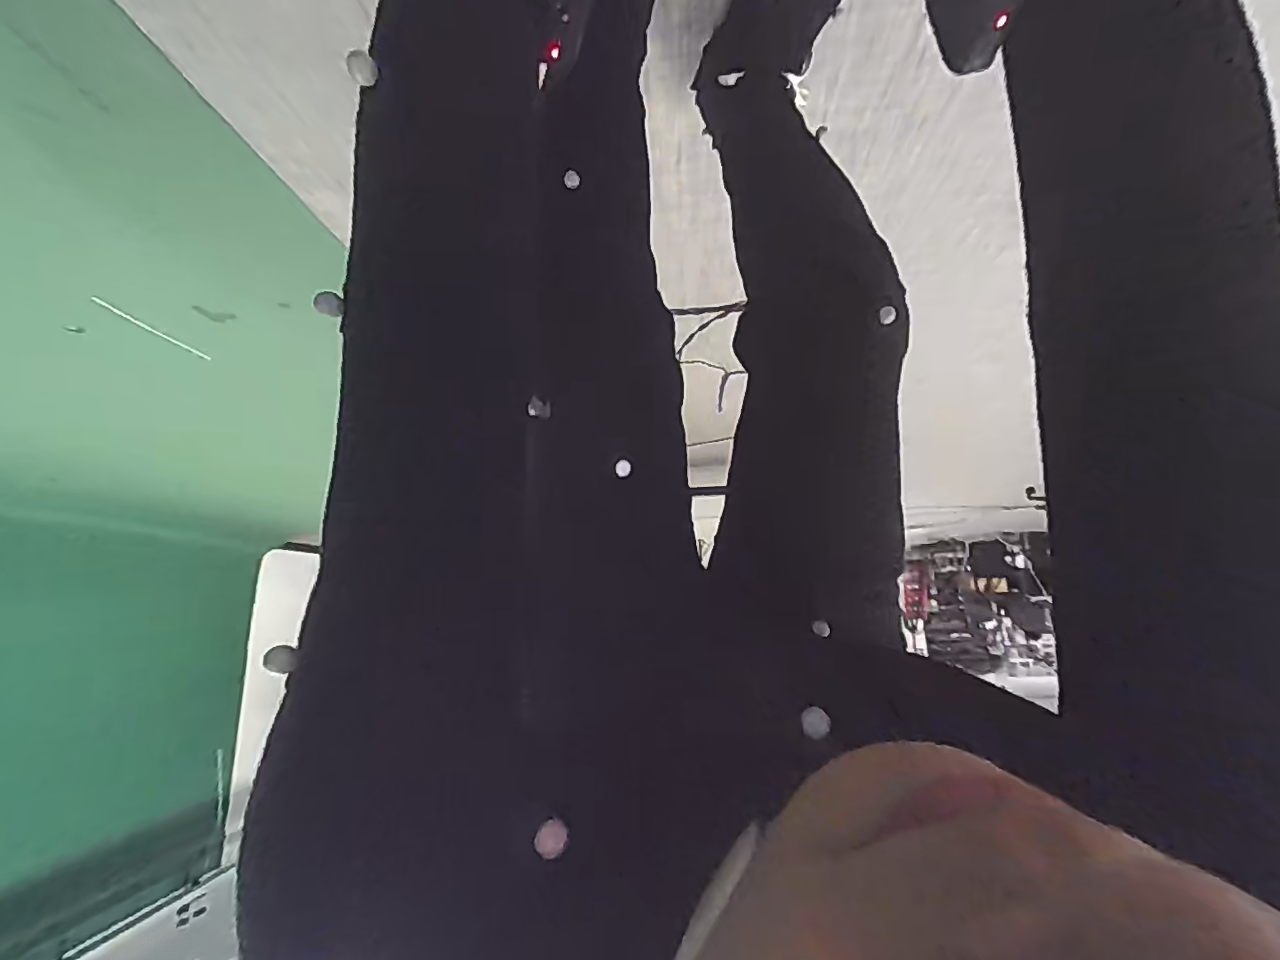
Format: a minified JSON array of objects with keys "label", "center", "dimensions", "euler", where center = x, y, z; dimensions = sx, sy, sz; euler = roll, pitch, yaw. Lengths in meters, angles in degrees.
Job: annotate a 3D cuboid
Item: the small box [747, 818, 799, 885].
[{"label":"small box","center":[0.533,1.501,2.193],"dimensions":[0.168,0.176,0.179],"euler":[-2,169,1]}]
